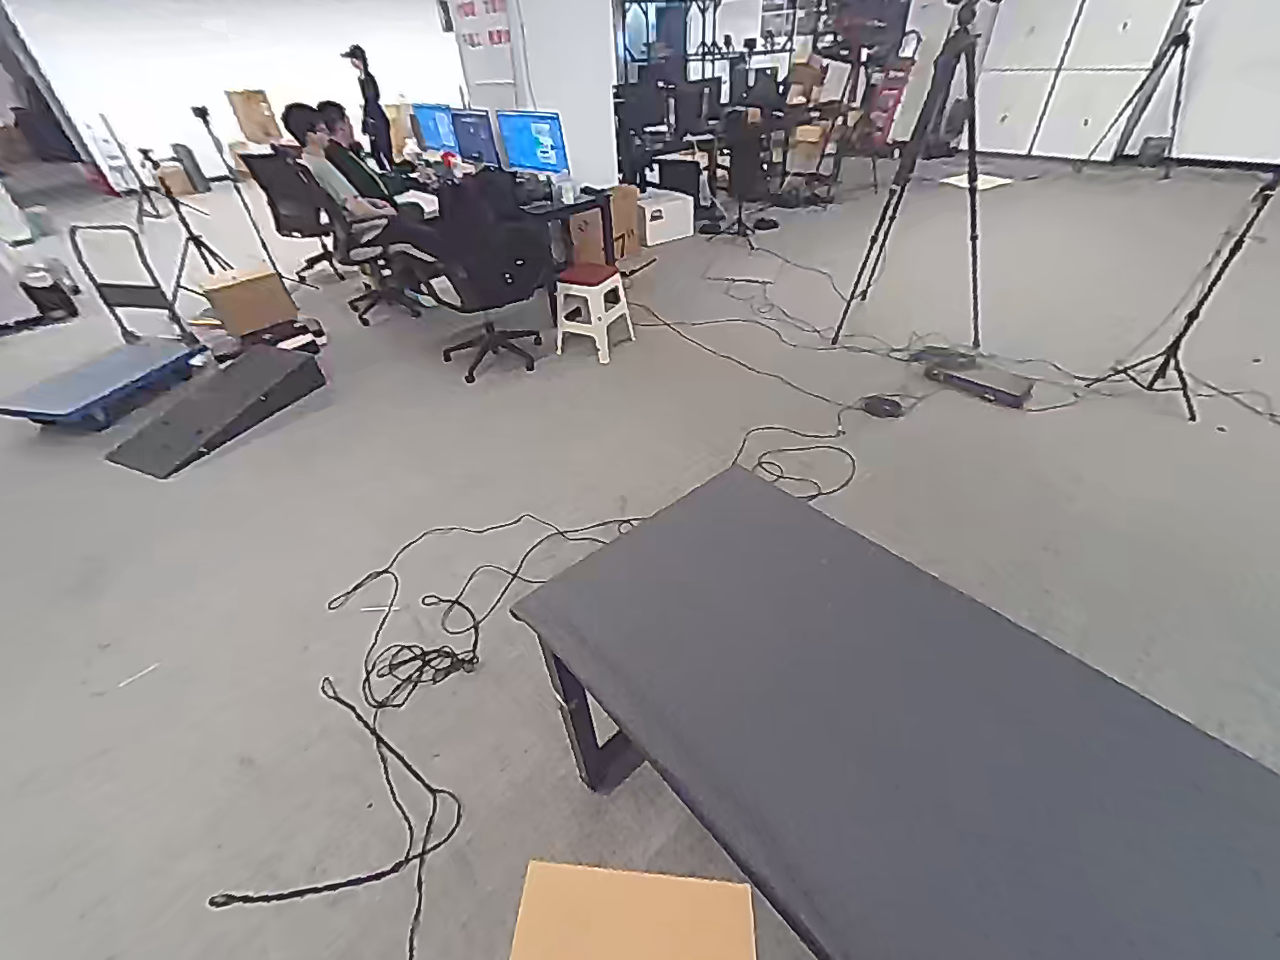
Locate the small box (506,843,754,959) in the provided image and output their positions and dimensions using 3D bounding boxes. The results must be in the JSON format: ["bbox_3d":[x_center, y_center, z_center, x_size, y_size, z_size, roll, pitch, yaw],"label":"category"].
[{"bbox_3d":[-0.013,0.394,0.382,0.168,0.176,0.179,5,39,3],"label":"small box"}]
